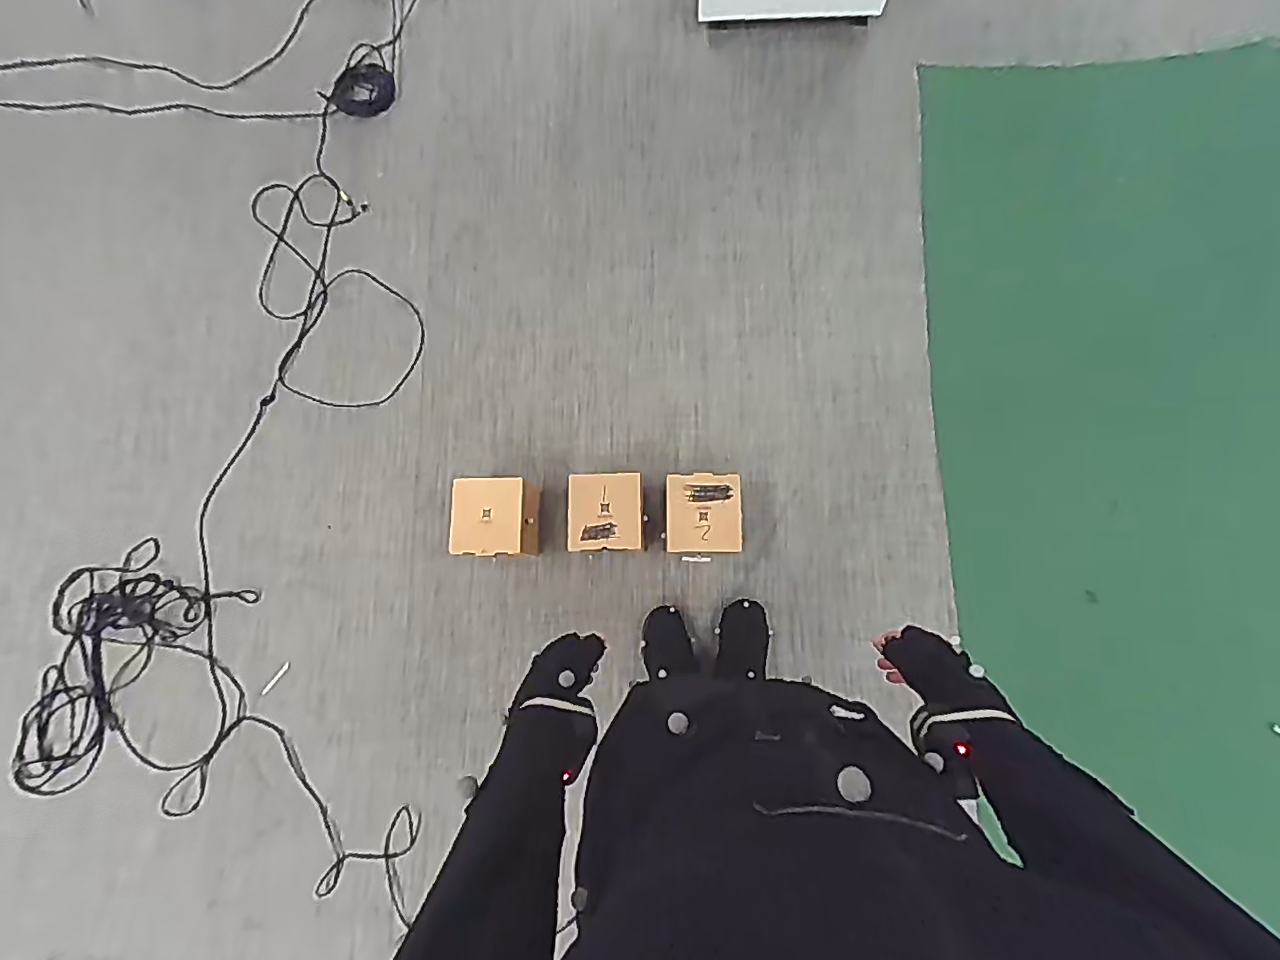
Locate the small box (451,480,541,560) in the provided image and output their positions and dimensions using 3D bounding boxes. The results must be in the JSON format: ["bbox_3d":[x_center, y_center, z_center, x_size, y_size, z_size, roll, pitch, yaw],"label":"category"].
[{"bbox_3d":[-0.343,0.101,1.315,0.168,0.176,0.179,-1,80,4],"label":"small box"}]

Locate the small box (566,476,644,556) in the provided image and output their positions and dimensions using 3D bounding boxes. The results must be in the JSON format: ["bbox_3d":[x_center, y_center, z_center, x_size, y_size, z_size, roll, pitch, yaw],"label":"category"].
[{"bbox_3d":[-0.077,0.092,1.295,0.168,0.176,0.179,-1,79,5],"label":"small box"}]
